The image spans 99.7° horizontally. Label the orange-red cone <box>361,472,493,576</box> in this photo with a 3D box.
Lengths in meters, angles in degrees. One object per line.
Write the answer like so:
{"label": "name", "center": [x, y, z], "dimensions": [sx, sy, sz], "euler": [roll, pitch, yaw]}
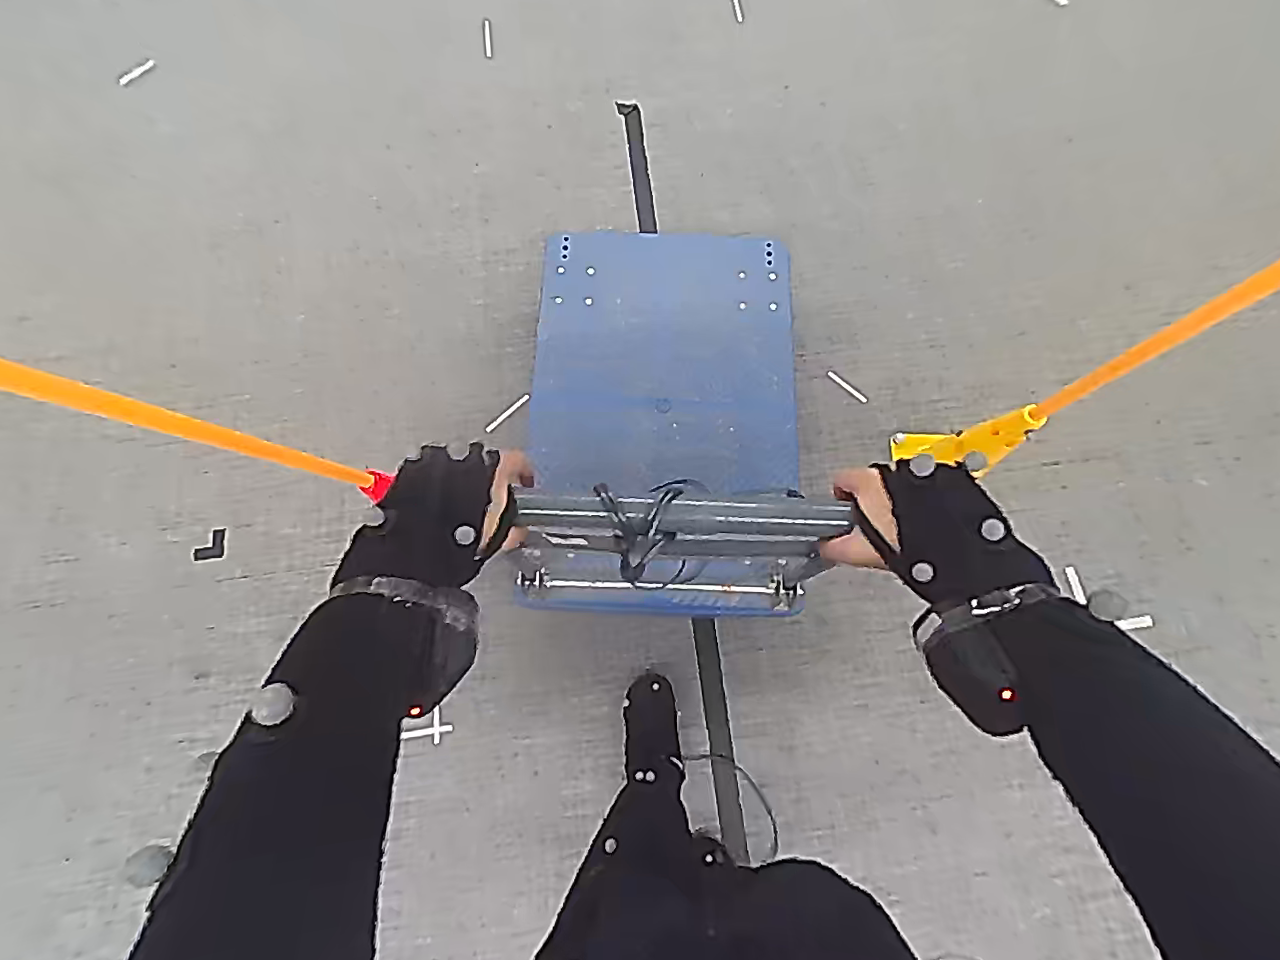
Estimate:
{"label": "orange-red cone", "center": [-0.469, 0.051, 1.104], "dimensions": [0.198, 0.360, 0.199], "euler": [37, 76, 9]}
